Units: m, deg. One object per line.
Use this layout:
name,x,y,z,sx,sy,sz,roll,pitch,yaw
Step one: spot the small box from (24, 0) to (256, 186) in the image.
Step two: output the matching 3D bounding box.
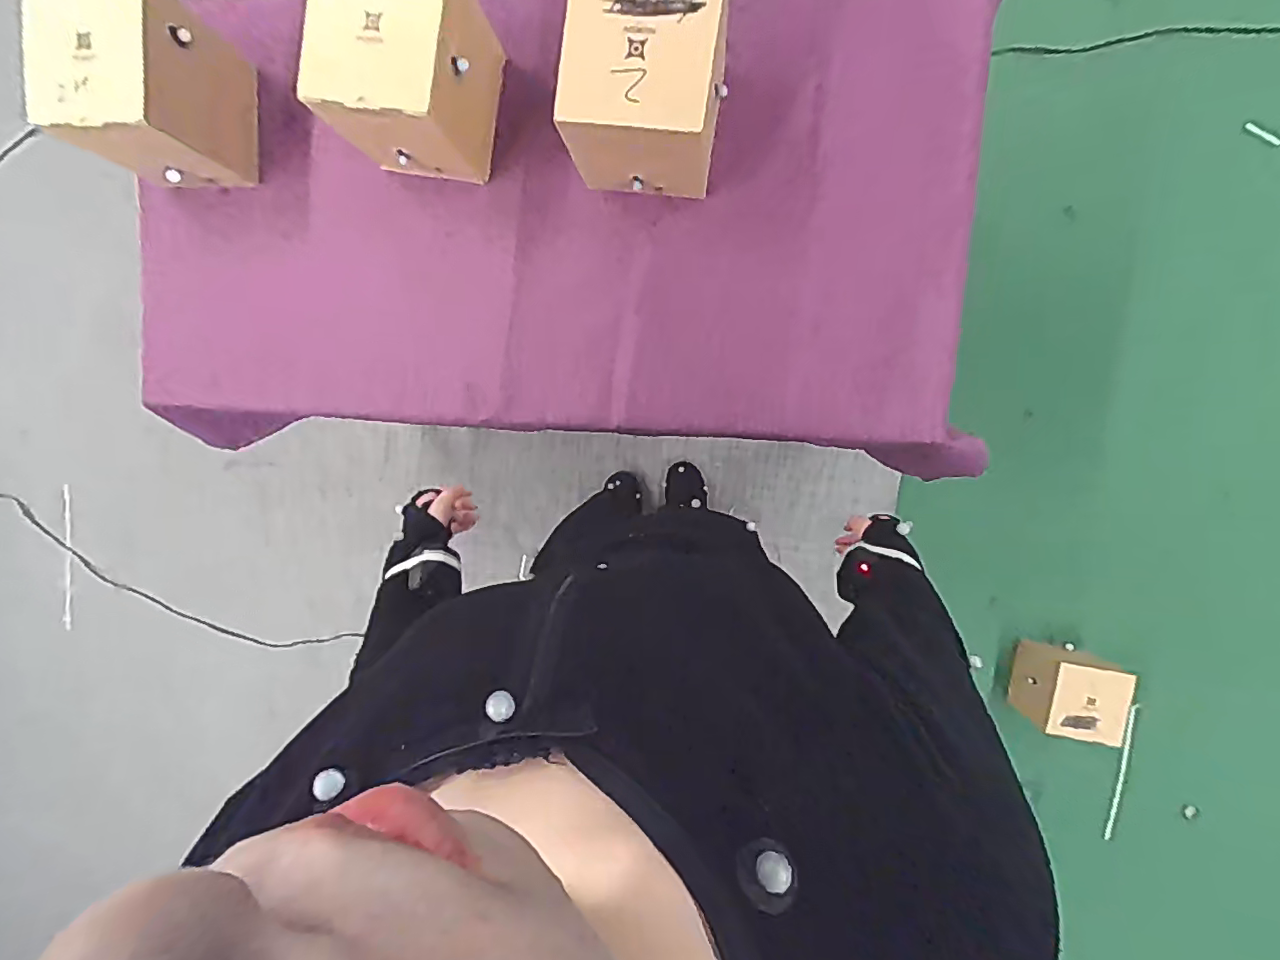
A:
small box,-0.658,-0.527,0.730,0.168,0.176,0.179,4,95,7

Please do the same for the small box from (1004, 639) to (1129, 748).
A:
small box,1.035,0.517,1.329,0.168,0.176,0.179,9,94,6

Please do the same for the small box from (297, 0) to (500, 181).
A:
small box,-0.292,-0.518,0.688,0.168,0.176,0.179,12,97,6
